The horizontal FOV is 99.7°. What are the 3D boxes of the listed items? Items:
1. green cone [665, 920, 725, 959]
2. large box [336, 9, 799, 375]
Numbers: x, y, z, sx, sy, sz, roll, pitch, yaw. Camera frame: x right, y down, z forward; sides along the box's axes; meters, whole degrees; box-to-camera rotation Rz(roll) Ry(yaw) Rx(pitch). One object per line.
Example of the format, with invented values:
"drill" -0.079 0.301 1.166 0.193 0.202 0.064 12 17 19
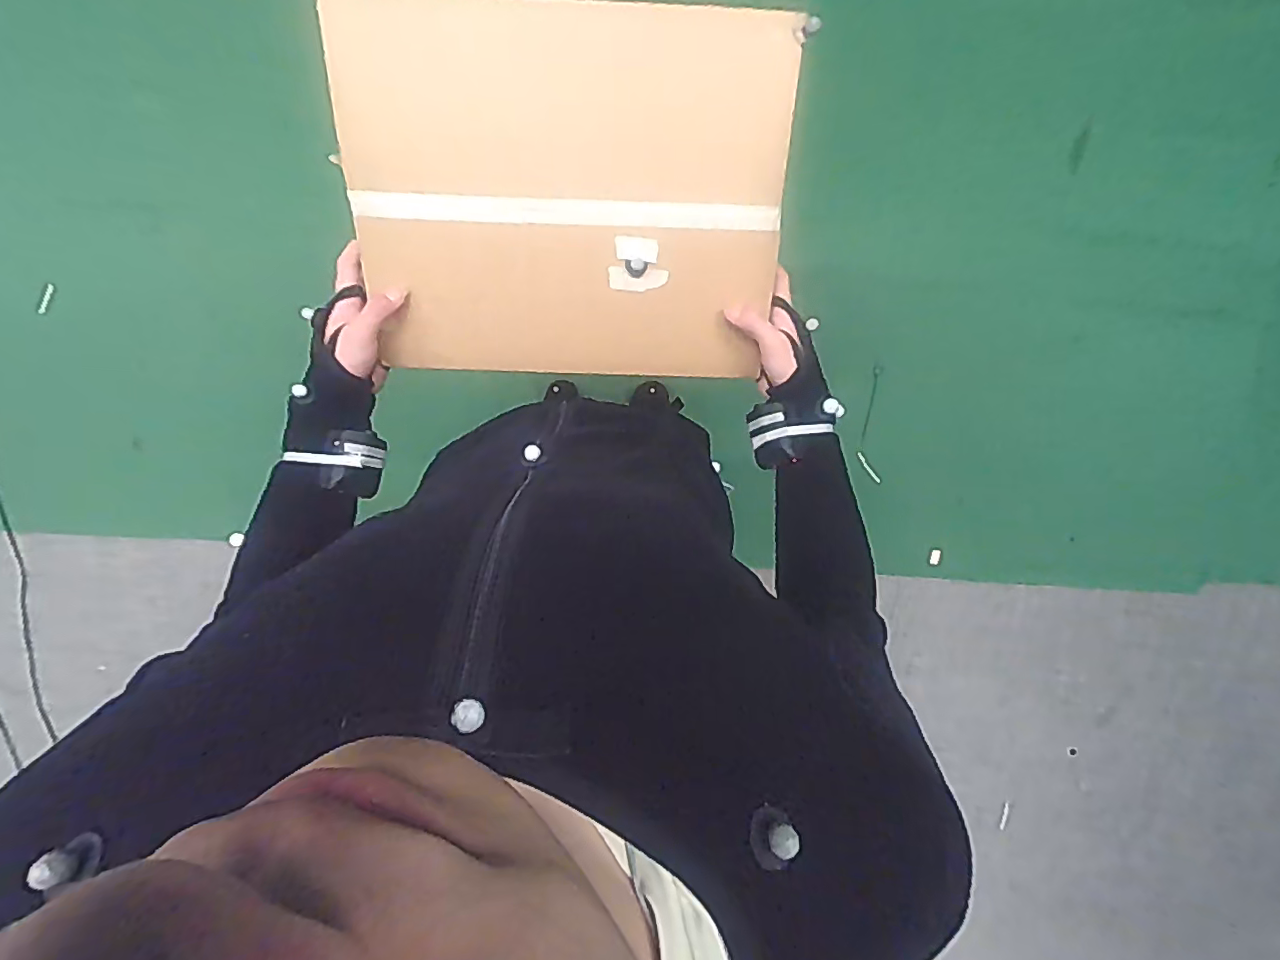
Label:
"green cone" 0.211 1.748 1.827 0.200 0.368 0.202 9 99 -4
"large box" -0.069 -0.316 0.657 0.408 0.320 0.320 0 116 -3
